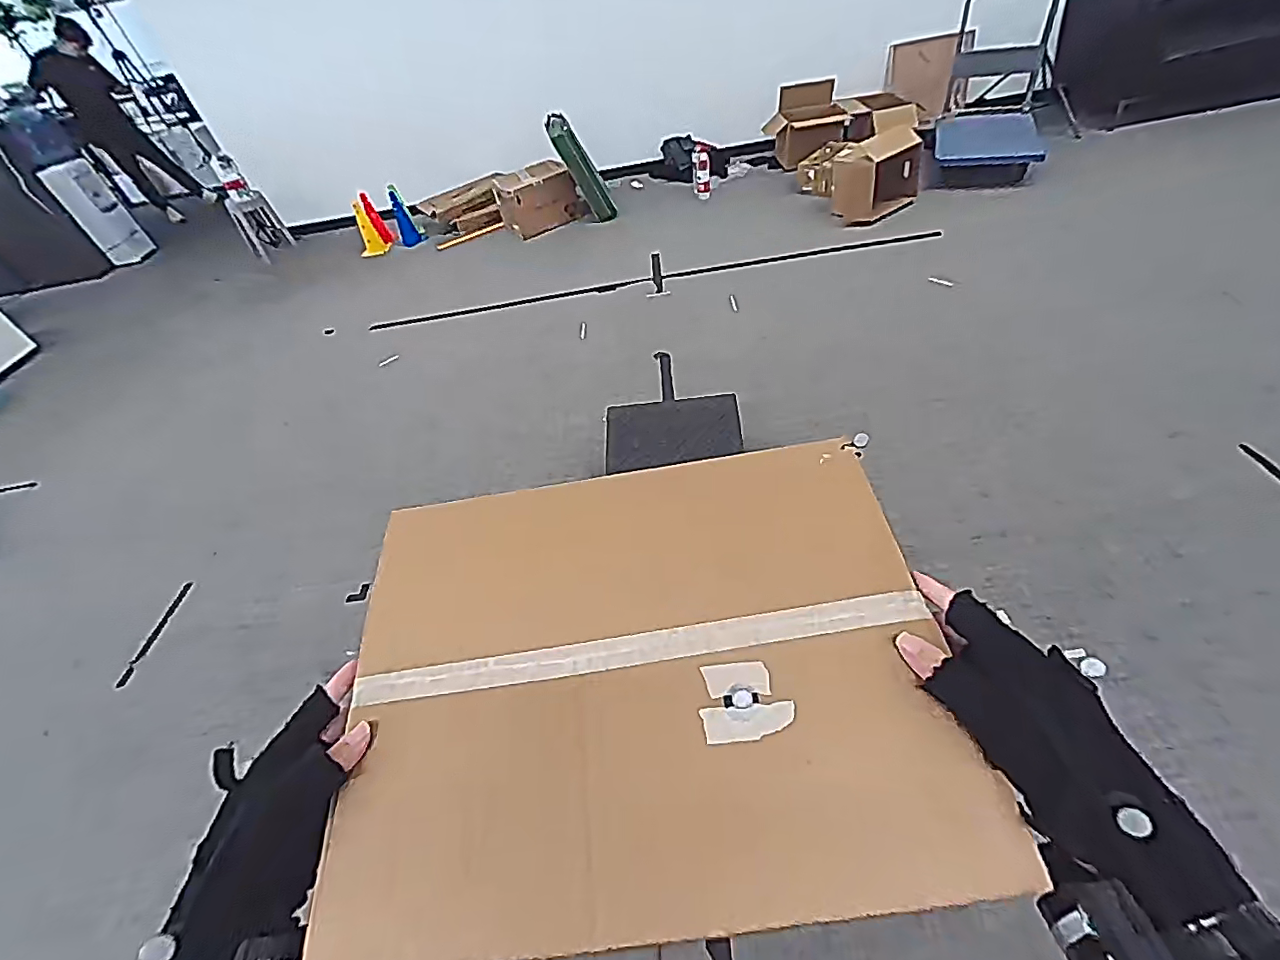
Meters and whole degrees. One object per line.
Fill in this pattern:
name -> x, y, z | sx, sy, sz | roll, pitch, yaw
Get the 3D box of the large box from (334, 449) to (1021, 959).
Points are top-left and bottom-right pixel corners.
large box -> 0.018, 0.213, 0.511 | 0.408, 0.320, 0.320 | -9, 54, 2
